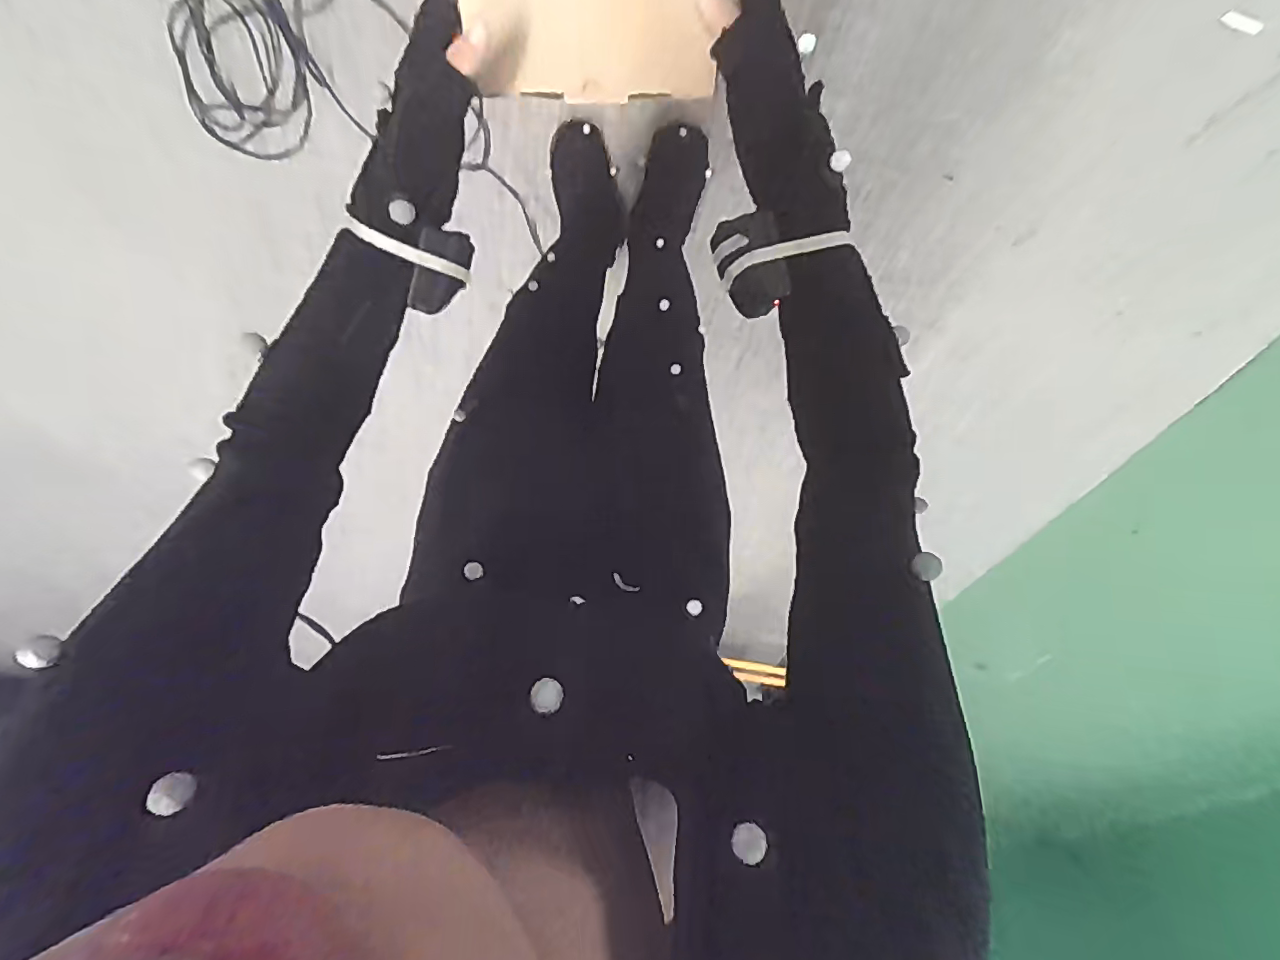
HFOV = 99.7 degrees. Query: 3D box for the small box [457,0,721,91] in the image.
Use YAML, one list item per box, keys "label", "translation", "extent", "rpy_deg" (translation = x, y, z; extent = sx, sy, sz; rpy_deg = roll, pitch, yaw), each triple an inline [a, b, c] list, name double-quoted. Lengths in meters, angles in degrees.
- label: "small box"
  translation: [-0.030, -0.379, 0.364]
  extent: [0.168, 0.176, 0.179]
  rpy_deg: [1, 132, 1]
